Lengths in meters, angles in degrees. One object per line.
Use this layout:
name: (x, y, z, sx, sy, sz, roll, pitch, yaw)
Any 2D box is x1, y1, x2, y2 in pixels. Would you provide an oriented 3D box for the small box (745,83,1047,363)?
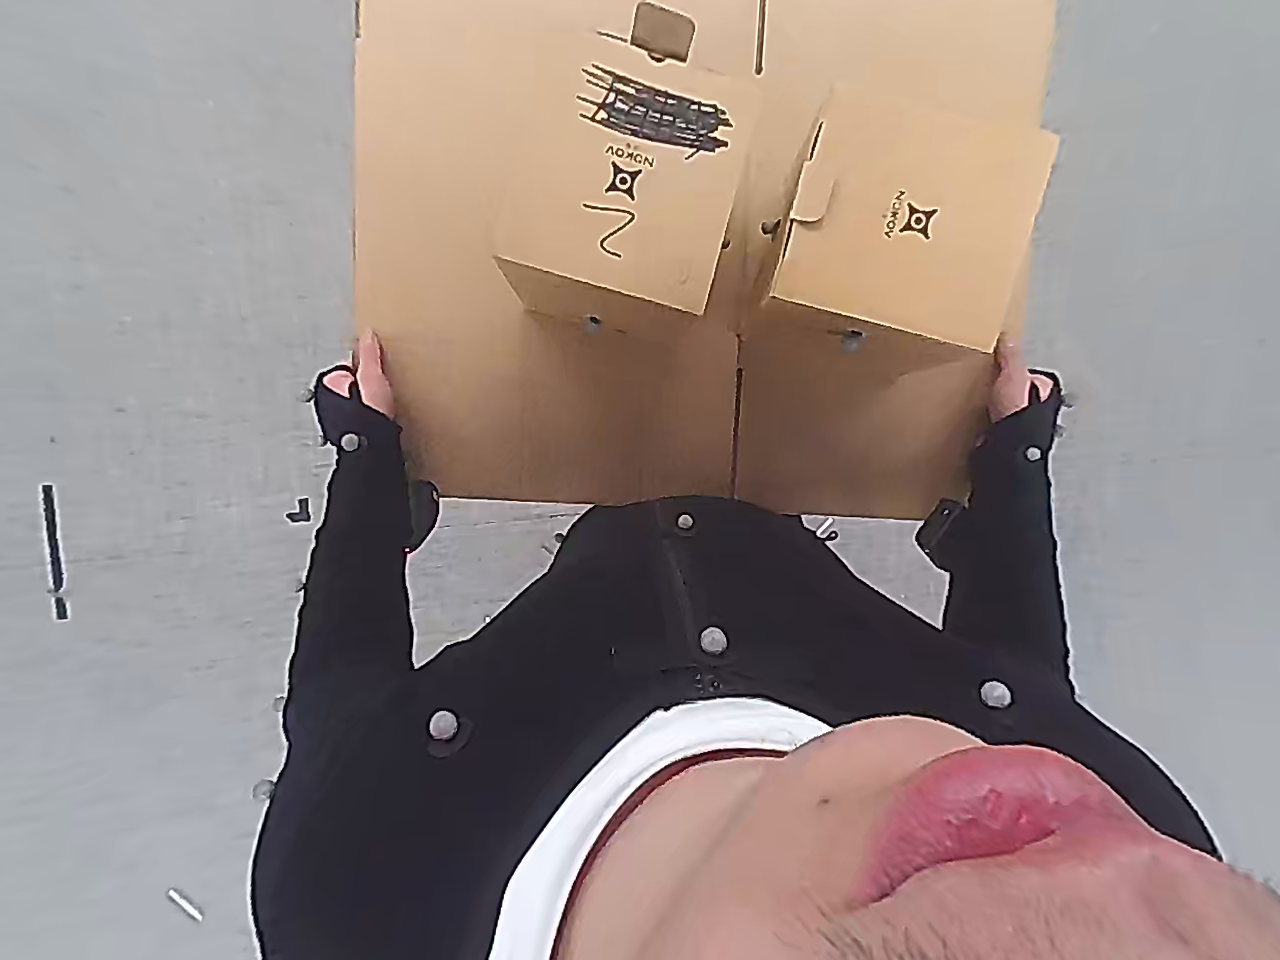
small box: (0.210, -0.212, 0.499, 0.179, 0.176, 0.168, 15, 95, 2)
